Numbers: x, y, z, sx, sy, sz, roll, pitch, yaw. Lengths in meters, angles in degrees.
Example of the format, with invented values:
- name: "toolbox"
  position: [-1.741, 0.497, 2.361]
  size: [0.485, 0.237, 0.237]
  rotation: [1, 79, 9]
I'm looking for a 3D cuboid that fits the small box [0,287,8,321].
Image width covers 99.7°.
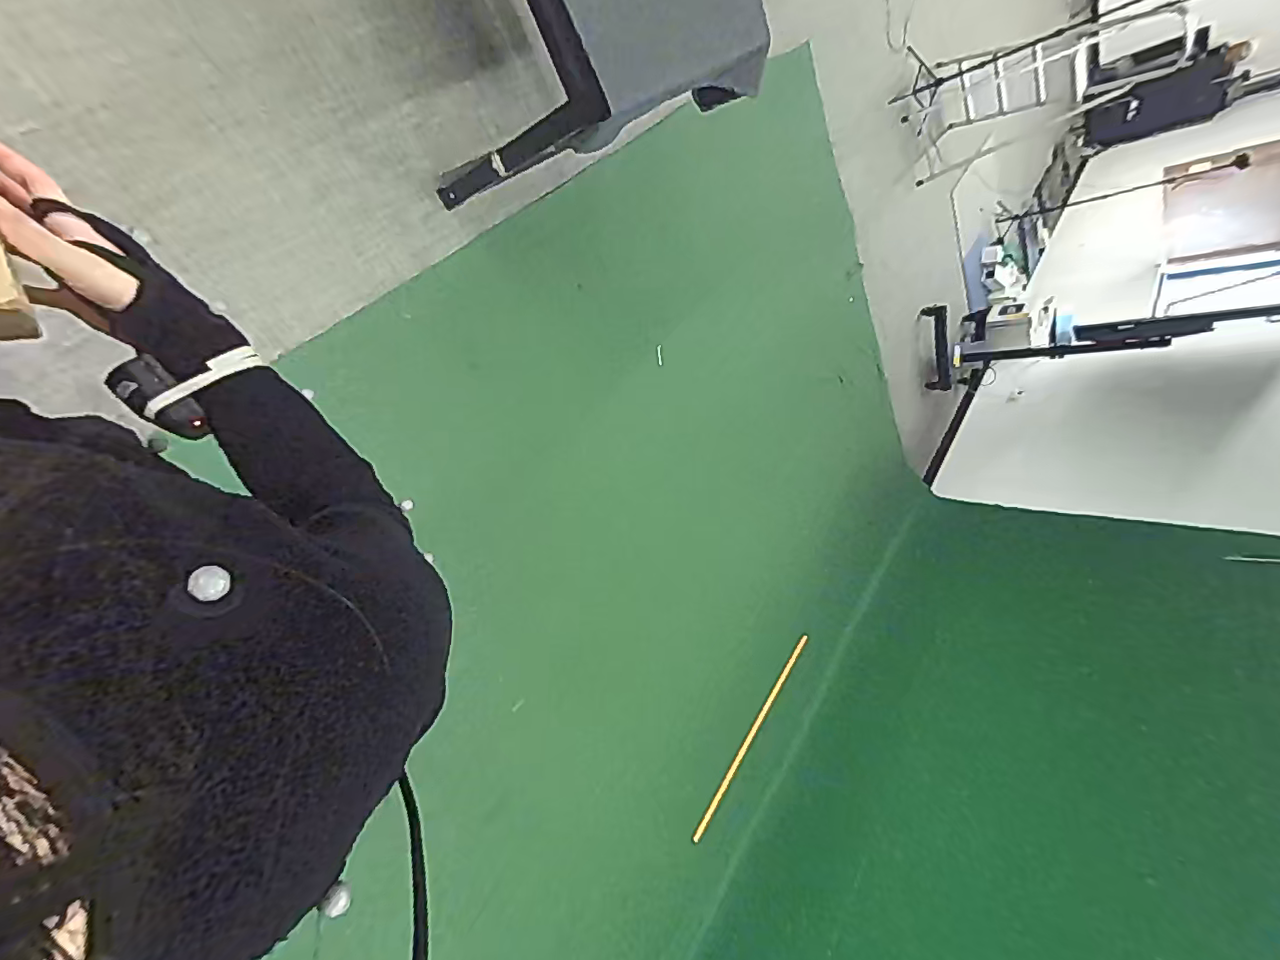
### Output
- name: "small box"
  position: [-0.486, -0.174, 0.282]
  size: [0.168, 0.176, 0.179]
  rotation: [-22, 111, -43]
